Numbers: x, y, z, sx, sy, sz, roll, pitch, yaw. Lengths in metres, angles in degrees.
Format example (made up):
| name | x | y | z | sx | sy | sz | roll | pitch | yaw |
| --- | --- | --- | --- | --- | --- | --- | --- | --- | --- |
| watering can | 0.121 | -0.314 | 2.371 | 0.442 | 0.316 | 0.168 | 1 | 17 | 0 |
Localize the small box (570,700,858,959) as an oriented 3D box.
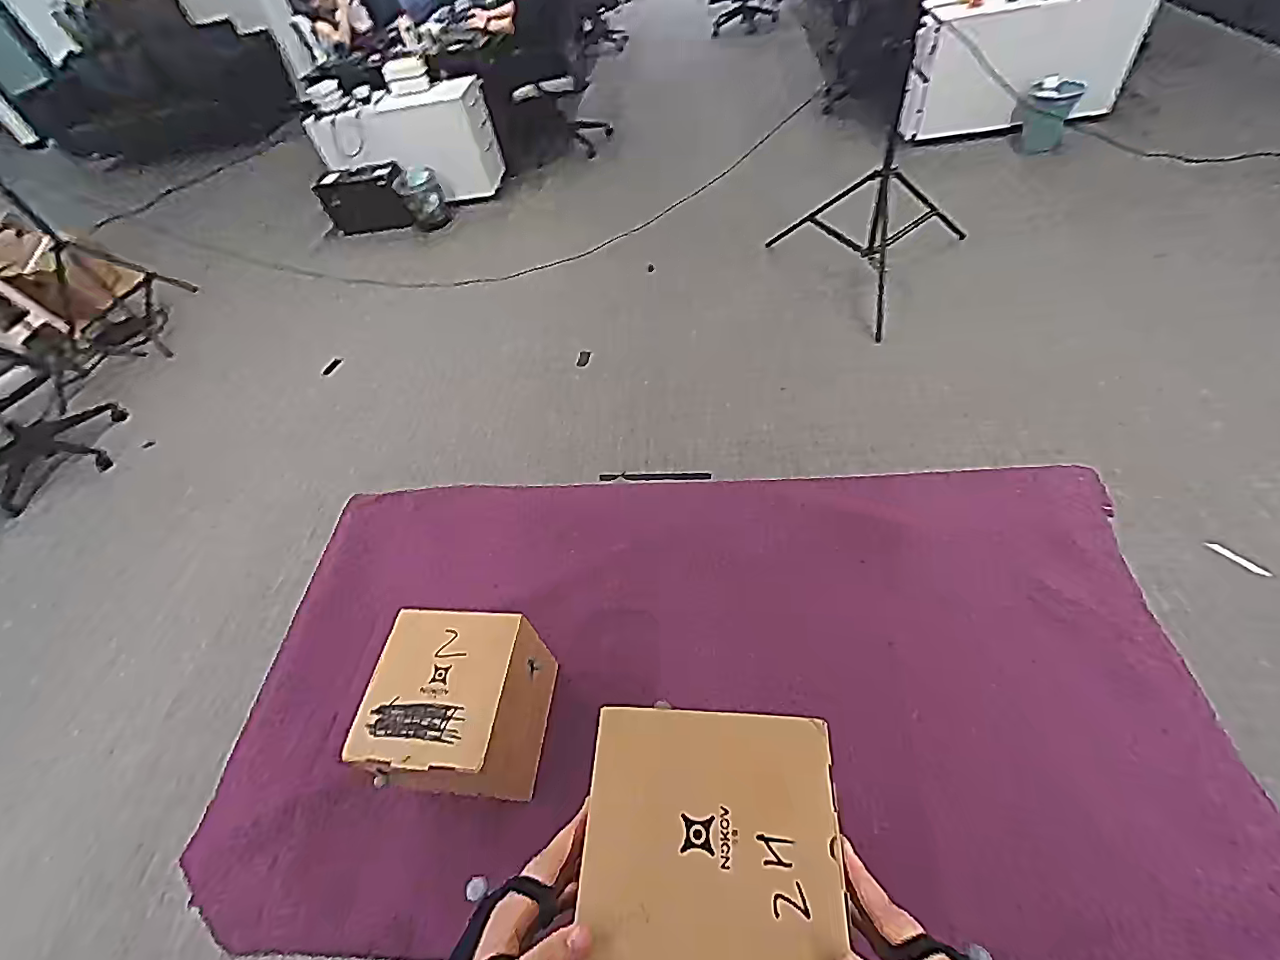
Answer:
| name | x | y | z | sx | sy | sz | roll | pitch | yaw |
| --- | --- | --- | --- | --- | --- | --- | --- | --- | --- |
| small box | 0.058 | 0.289 | 0.430 | 0.179 | 0.176 | 0.168 | 0 | 51 | 7 |
